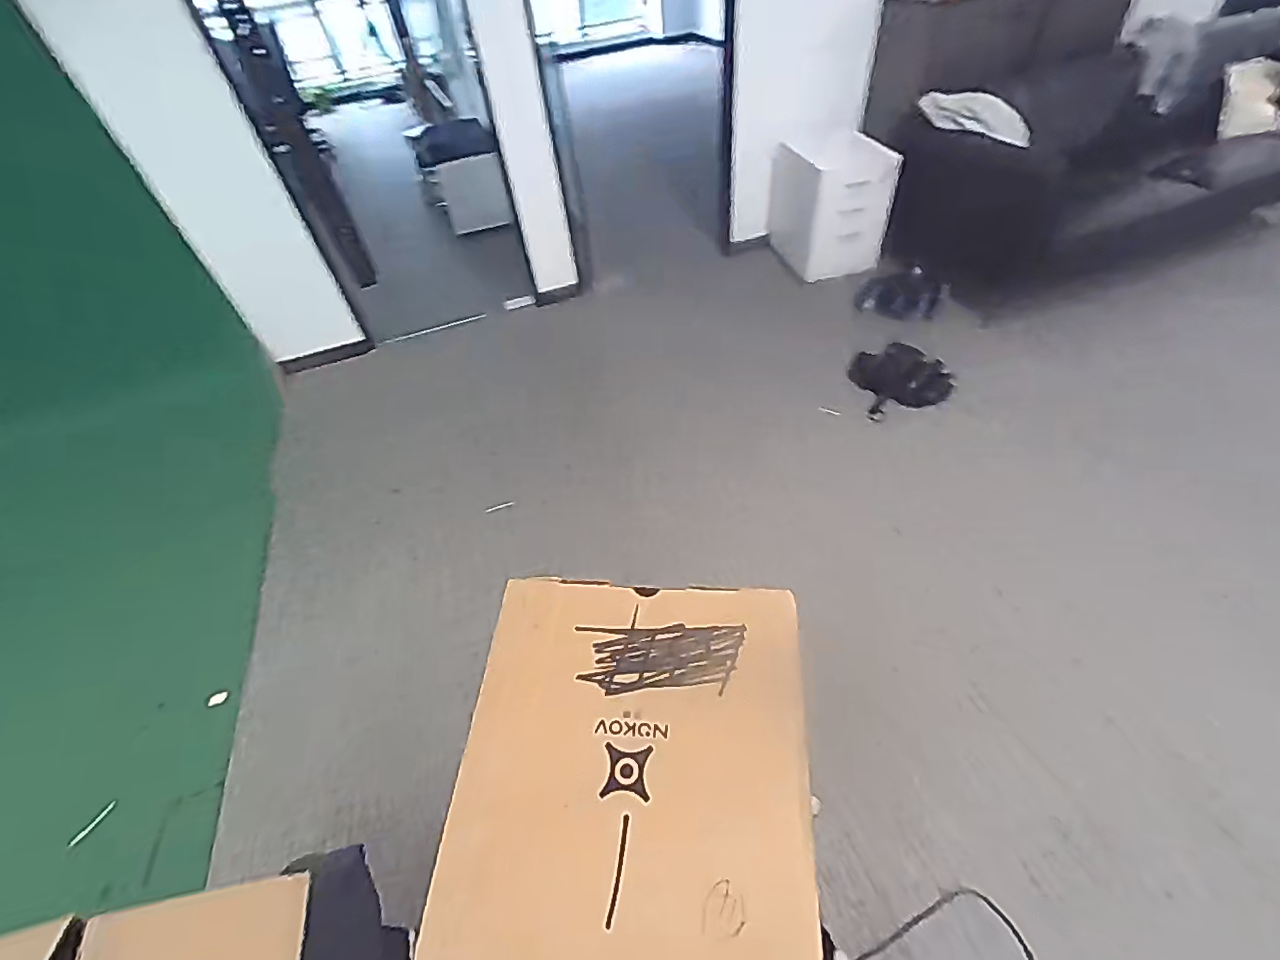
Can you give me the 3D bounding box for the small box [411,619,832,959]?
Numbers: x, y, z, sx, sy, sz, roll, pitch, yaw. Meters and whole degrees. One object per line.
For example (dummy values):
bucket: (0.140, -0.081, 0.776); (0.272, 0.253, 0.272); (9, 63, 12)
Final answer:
small box: (0.004, 0.195, 0.300); (0.168, 0.176, 0.179); (1, 56, 9)
